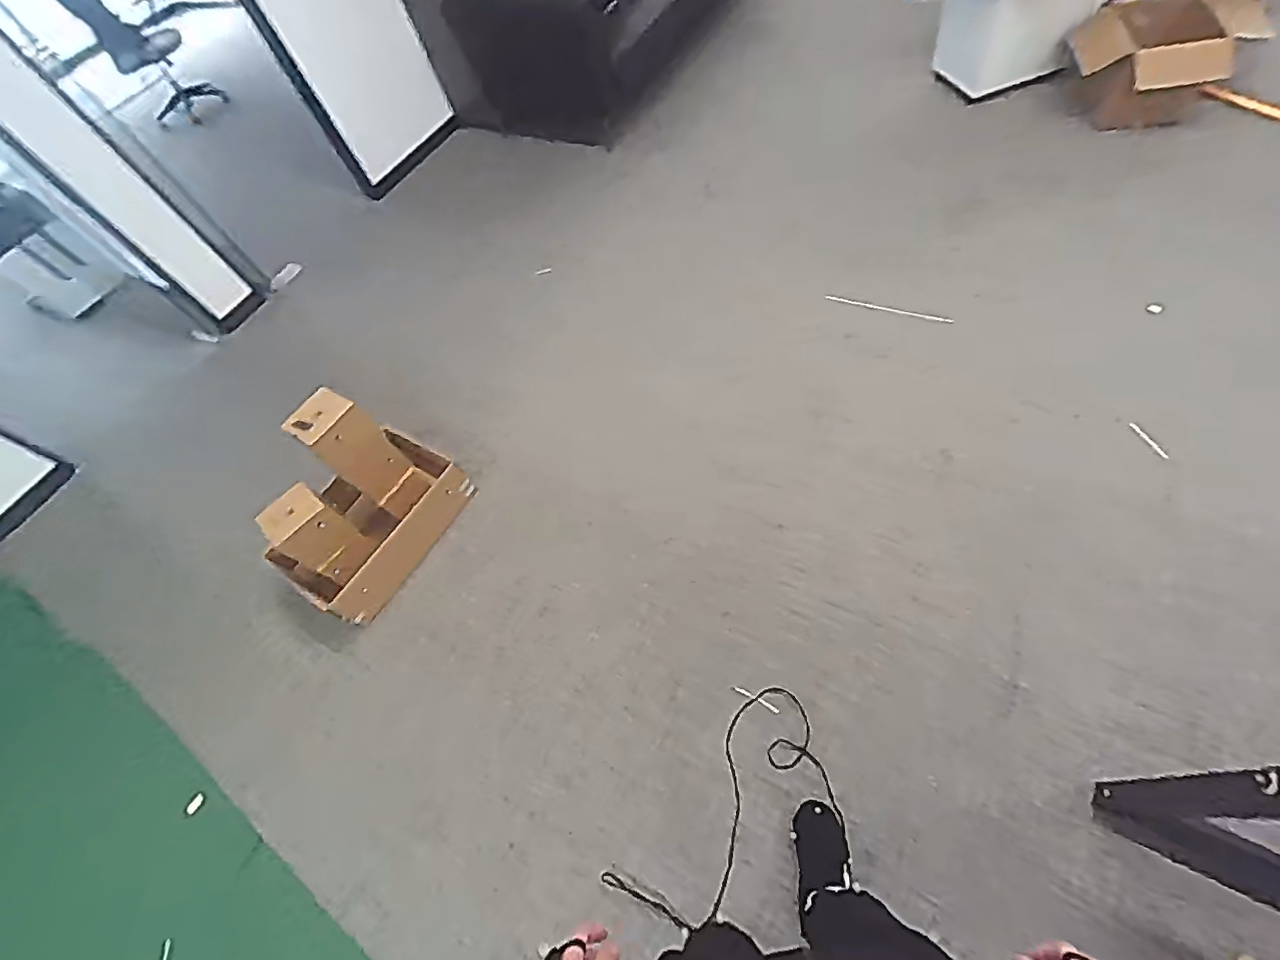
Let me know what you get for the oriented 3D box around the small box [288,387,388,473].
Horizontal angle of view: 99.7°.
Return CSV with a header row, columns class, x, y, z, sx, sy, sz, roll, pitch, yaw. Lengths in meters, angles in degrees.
class,x,y,z,sx,sy,sz,roll,pitch,yaw
small box,-0.928,-0.149,1.677,0.168,0.176,0.179,26,67,26
